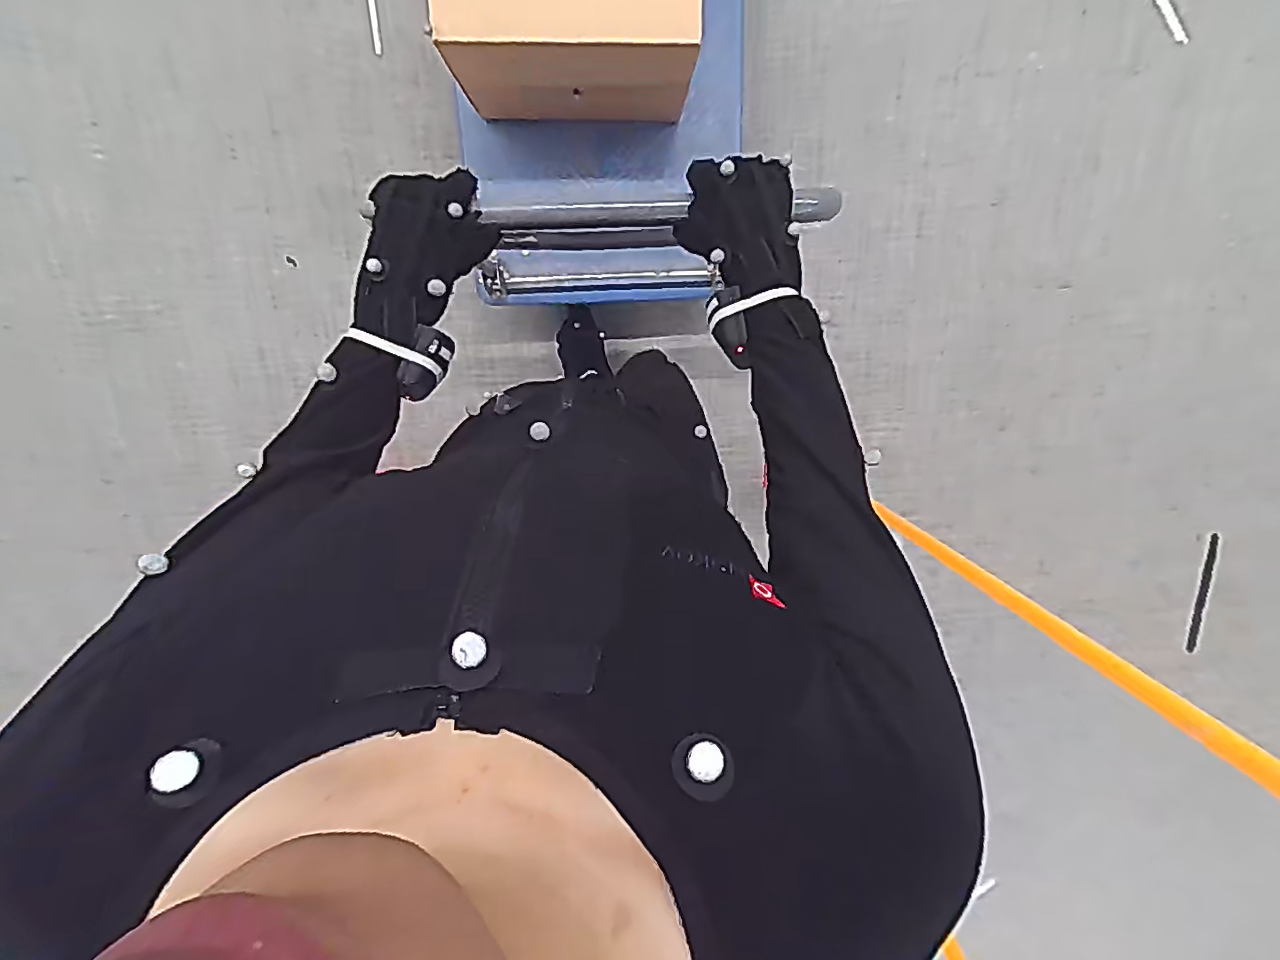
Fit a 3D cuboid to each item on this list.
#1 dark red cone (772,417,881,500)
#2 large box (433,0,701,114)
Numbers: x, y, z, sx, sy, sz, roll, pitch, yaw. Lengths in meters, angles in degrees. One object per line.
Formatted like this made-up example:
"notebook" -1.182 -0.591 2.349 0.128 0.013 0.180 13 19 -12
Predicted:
"dark red cone" 0.460 -0.025 1.287 0.201 0.394 0.202 -3 105 -3
"large box" -0.113 -0.851 0.916 0.408 0.320 0.320 -1 105 -1
